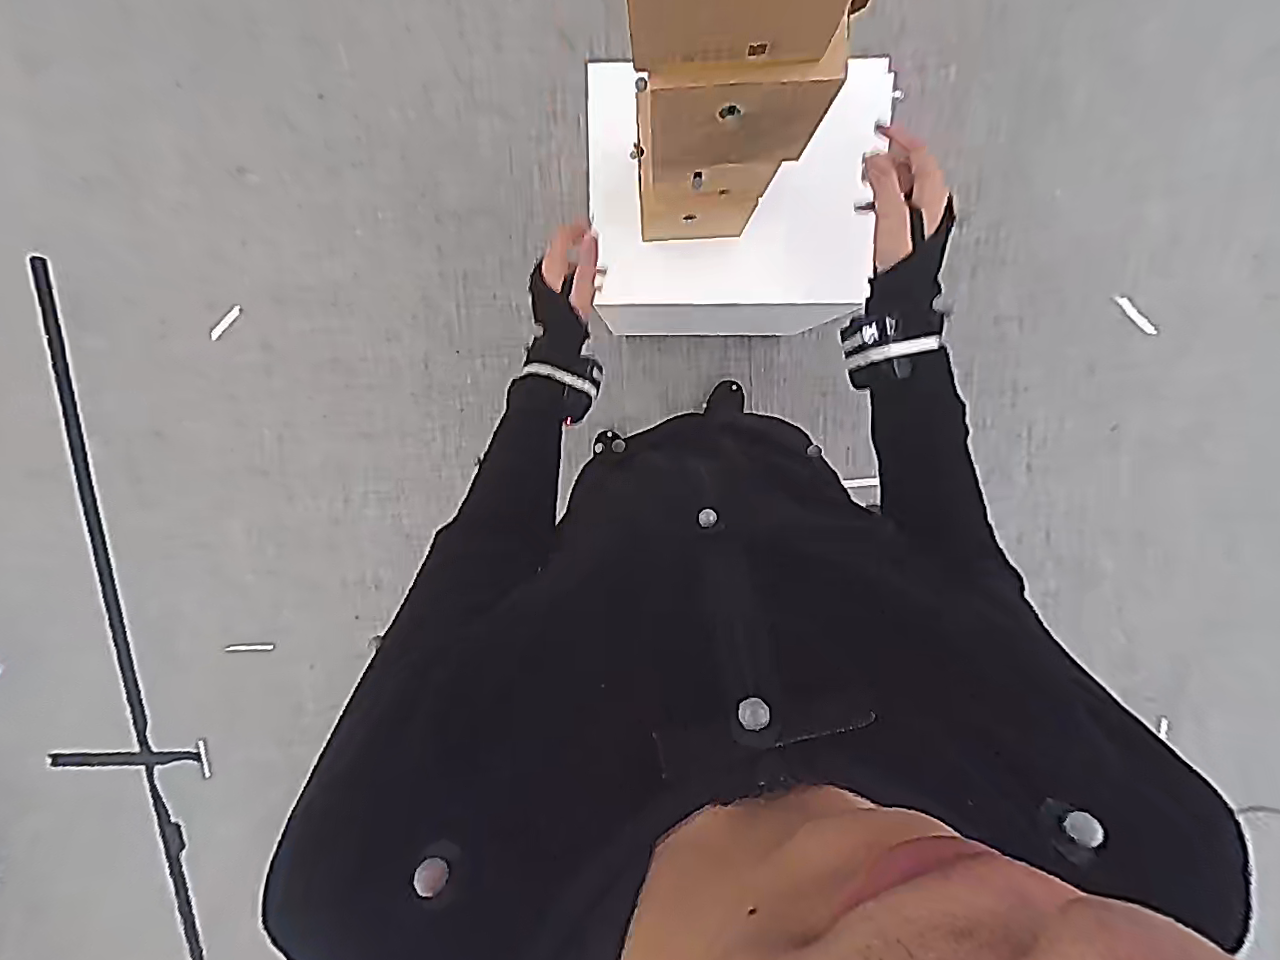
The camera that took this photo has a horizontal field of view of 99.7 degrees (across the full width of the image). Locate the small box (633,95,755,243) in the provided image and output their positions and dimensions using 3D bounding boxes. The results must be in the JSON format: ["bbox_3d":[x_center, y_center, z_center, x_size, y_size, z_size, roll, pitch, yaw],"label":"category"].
[{"bbox_3d":[0.082,-0.490,0.868,0.179,0.176,0.168,-3,99,1],"label":"small box"}]

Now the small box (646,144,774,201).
[{"bbox_3d":[0.092,-0.479,0.705,0.168,0.176,0.179,-2,98,1],"label":"small box"}]

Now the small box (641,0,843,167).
[{"bbox_3d":[0.091,-0.436,0.545,0.179,0.176,0.168,-2,99,1],"label":"small box"}]
